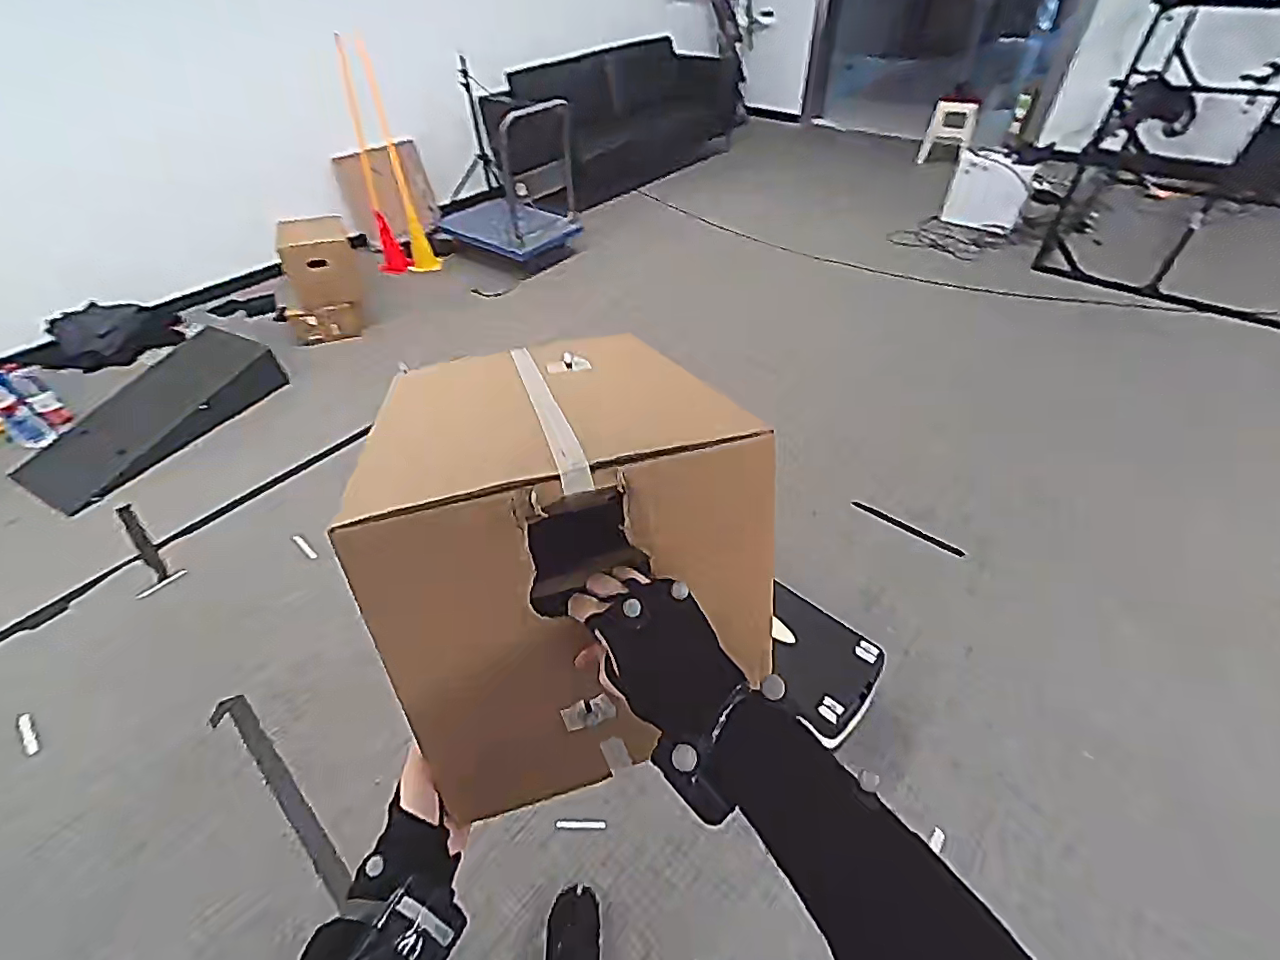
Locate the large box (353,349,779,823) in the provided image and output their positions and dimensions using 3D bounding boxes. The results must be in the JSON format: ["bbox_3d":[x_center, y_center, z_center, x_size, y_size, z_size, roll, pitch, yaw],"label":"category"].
[{"bbox_3d":[-0.077,0.061,0.606,0.320,0.320,0.408,-11,25,-12],"label":"large box"}]
